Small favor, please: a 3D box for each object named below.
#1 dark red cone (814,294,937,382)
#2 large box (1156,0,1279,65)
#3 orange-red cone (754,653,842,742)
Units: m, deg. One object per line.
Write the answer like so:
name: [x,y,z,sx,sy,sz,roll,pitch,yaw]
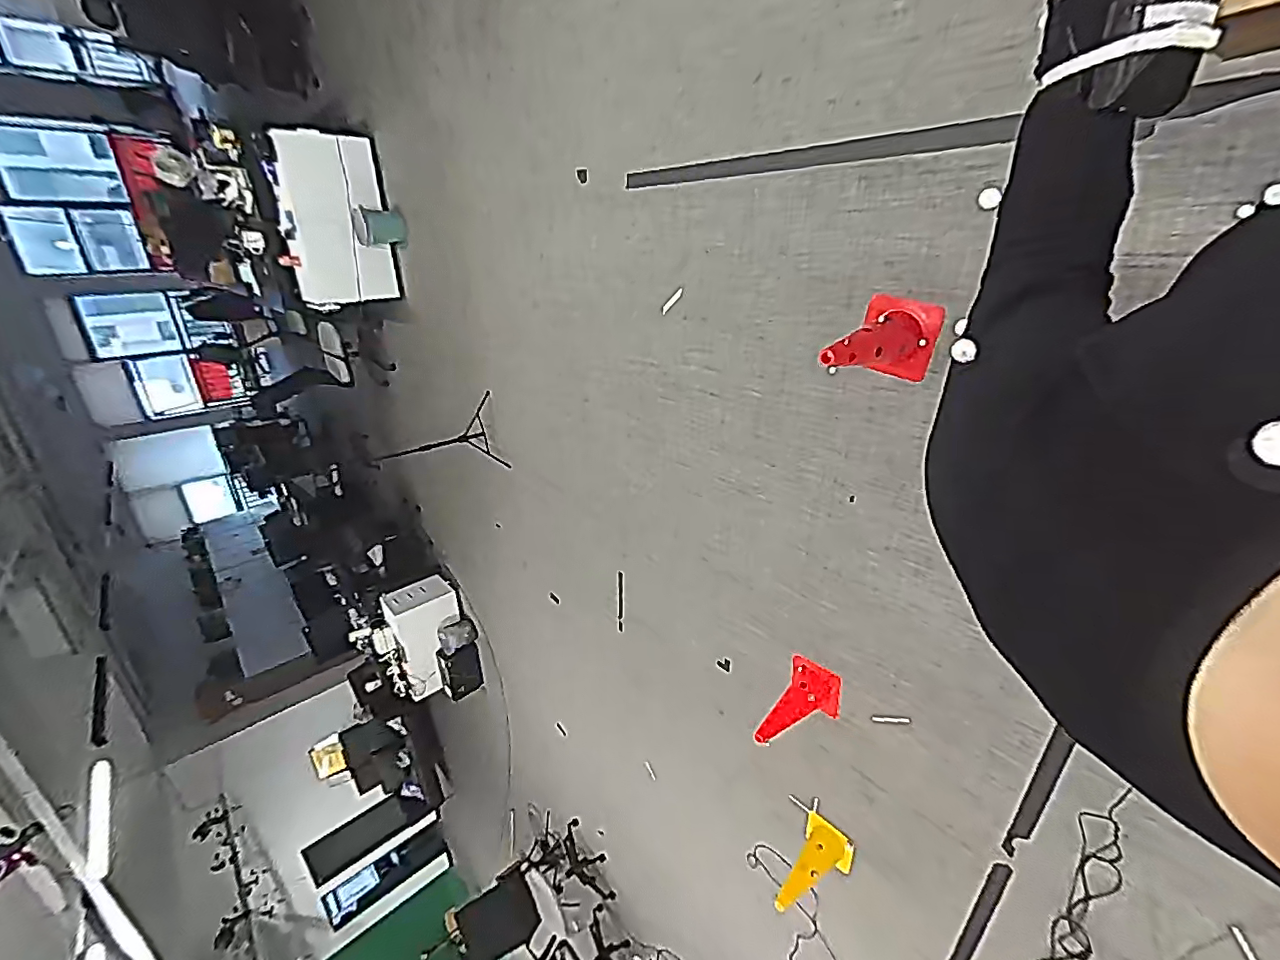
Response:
dark red cone: [0.547,-0.332,1.333,0.201,0.394,0.202,30,128,39]
large box: [0.558,-0.447,0.243,0.408,0.320,0.320,19,126,46]
orange-red cone: [0.536,0.821,1.935,0.198,0.360,0.199,22,124,45]
